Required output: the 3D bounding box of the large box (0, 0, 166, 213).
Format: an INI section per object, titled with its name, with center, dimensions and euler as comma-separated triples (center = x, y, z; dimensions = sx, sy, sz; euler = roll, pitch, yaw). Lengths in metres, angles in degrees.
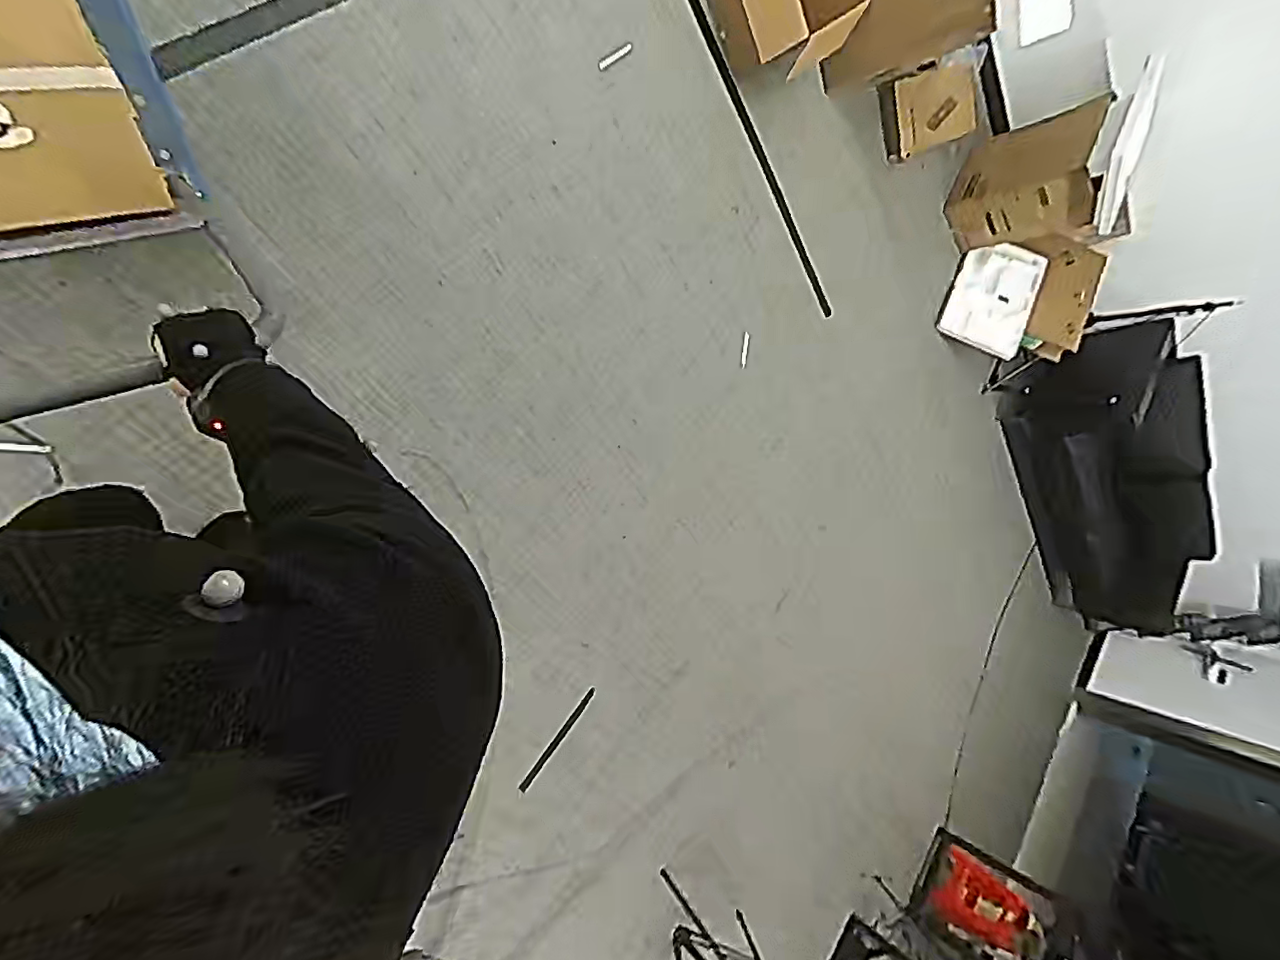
[large box]
center = -0.942, -0.524, 0.684
dimensions = 0.408, 0.320, 0.320
euler = -30, 137, -32
